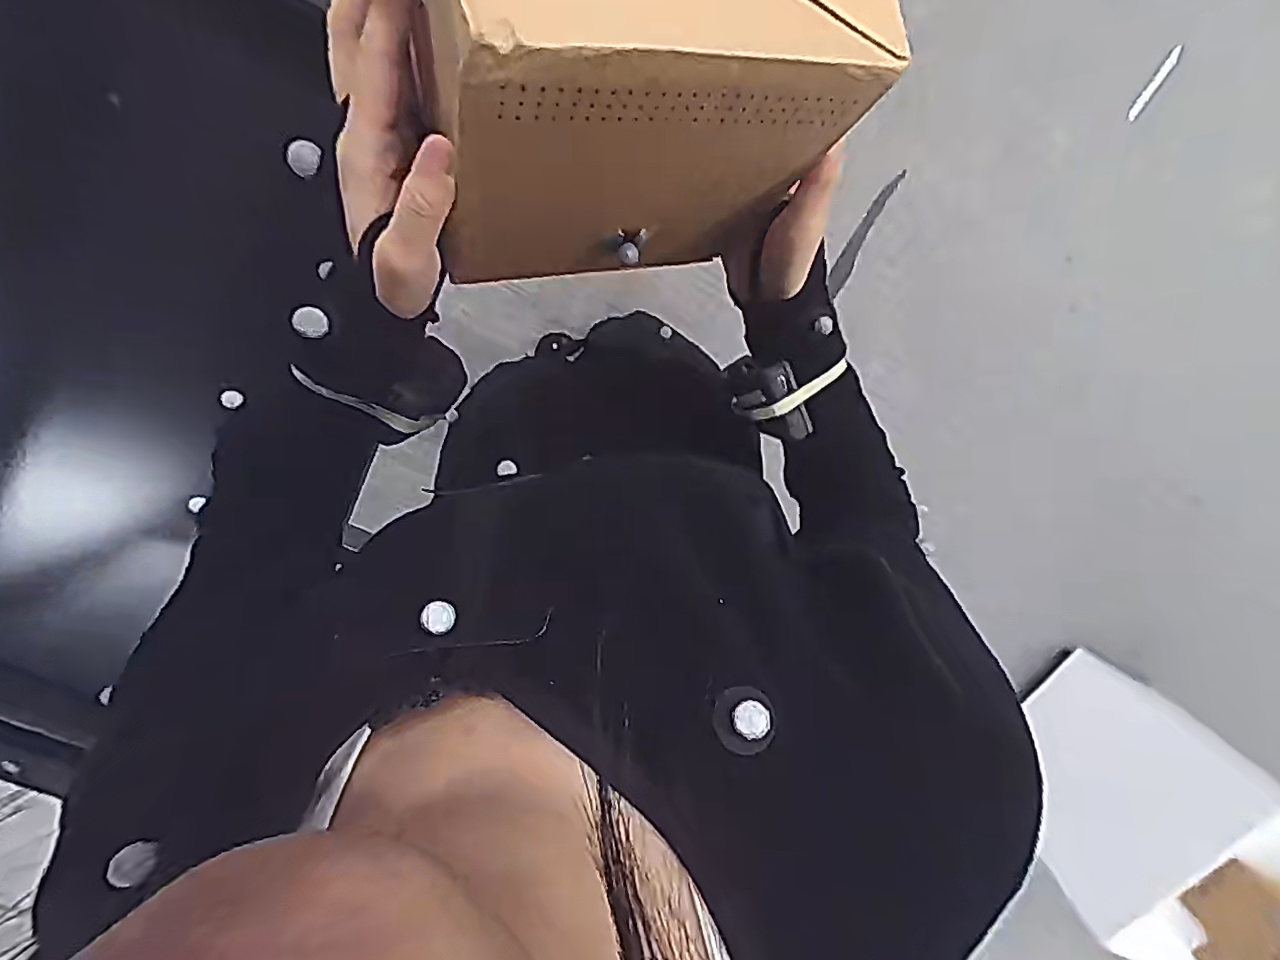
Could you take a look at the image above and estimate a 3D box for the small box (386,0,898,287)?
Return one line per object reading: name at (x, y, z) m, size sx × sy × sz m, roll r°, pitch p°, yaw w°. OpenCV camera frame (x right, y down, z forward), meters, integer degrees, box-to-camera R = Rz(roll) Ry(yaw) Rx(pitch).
small box at (-0.016, -0.212, 0.256) m, size 0.179 × 0.176 × 0.168 m, roll -14°, pitch 90°, yaw -22°
